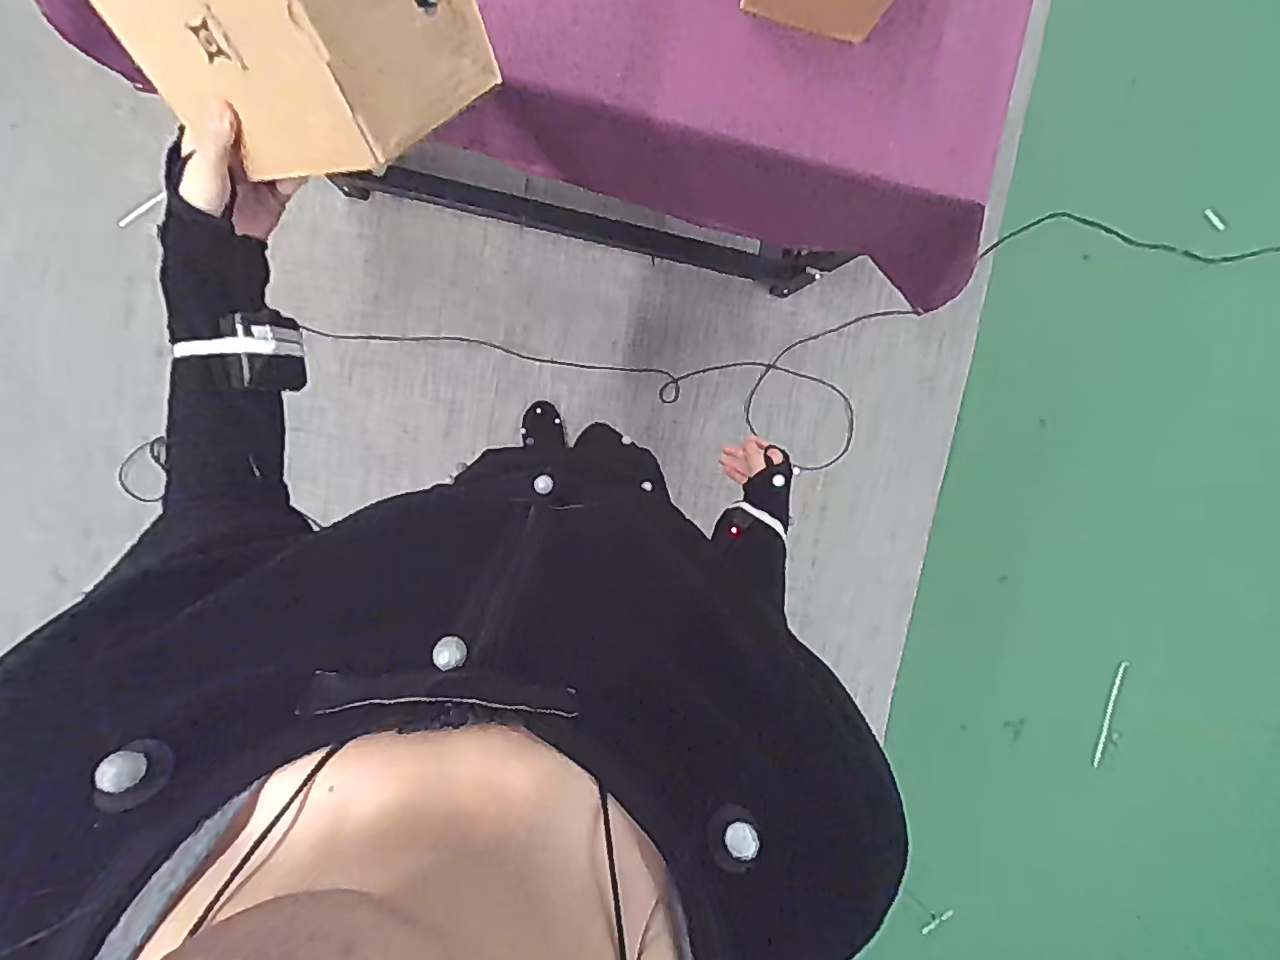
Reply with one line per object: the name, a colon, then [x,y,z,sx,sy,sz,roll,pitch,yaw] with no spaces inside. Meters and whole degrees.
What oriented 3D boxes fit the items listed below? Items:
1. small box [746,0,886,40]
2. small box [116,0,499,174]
small box: [0.243,-0.684,0.649,0.179,0.176,0.168,11,96,-8]
small box: [-0.238,-0.349,0.396,0.179,0.168,0.176,8,52,22]
